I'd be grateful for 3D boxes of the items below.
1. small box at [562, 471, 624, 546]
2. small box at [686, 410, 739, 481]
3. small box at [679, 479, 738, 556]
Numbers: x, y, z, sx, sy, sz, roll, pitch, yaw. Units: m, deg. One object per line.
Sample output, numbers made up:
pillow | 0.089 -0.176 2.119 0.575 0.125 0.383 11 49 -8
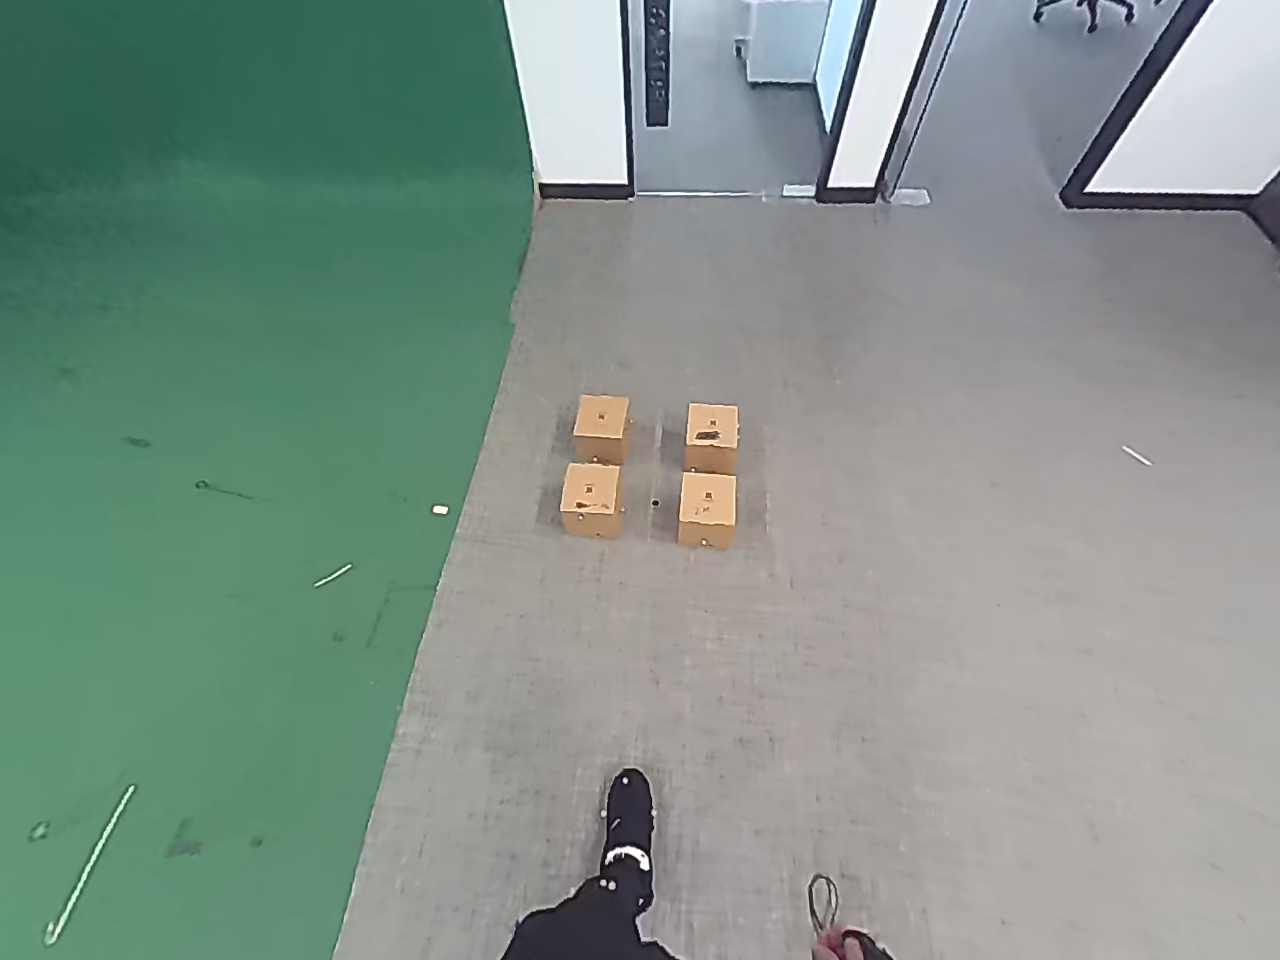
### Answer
small box | -0.143 0.092 1.728 0.168 0.176 0.179 3 56 5
small box | 0.245 -0.115 1.844 0.168 0.176 0.179 5 57 5
small box | 0.212 0.118 1.696 0.168 0.176 0.179 4 57 6
